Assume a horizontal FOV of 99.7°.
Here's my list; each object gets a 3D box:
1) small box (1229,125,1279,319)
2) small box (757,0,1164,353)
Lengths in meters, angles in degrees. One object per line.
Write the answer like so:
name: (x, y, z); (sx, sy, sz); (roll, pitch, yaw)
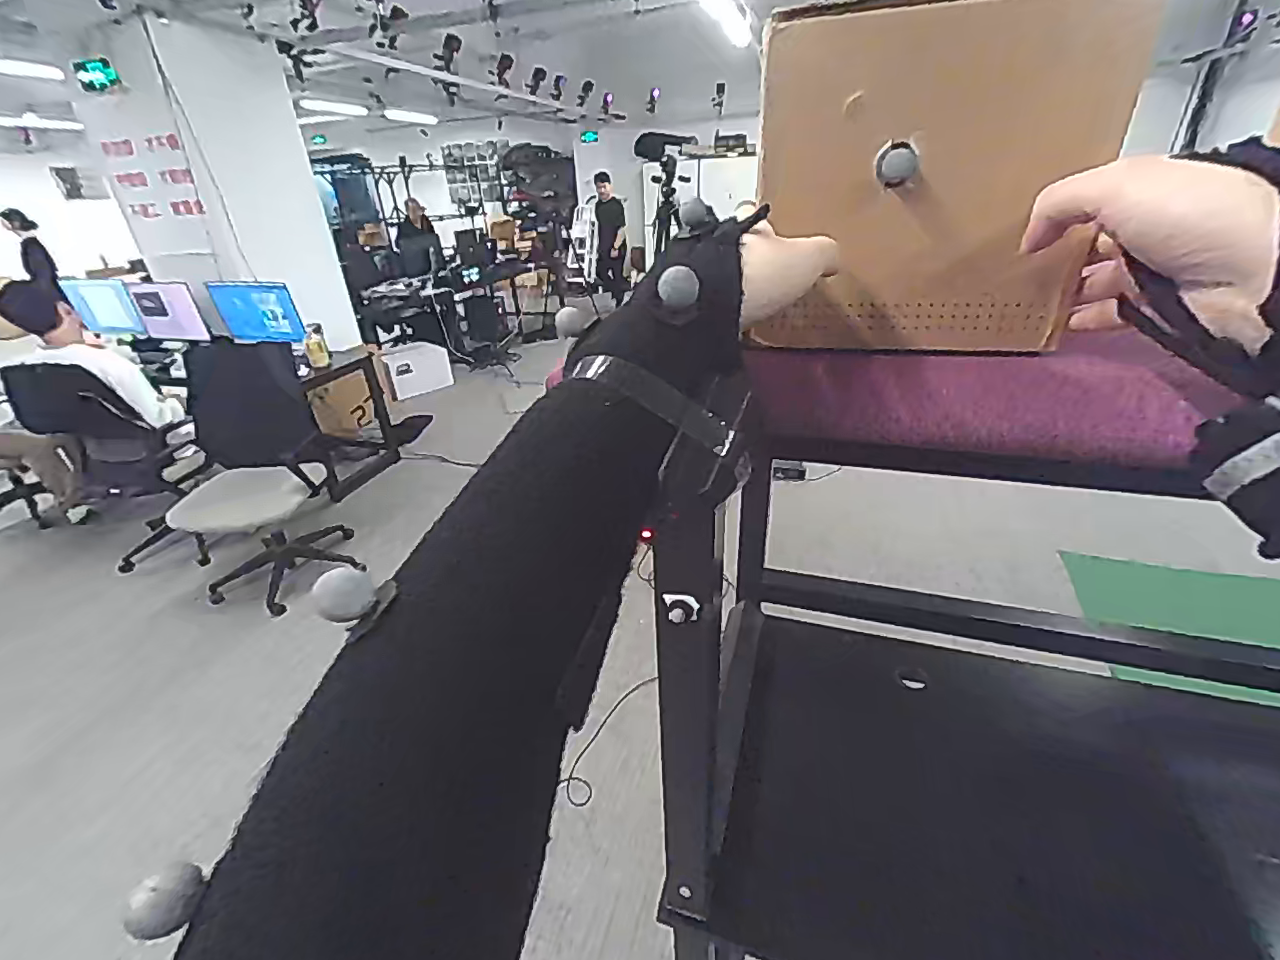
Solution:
small box: (0.500, -0.171, 0.303); (0.179, 0.176, 0.168); (8, 29, 19)
small box: (0.170, -0.184, 0.352); (0.179, 0.176, 0.168); (3, 29, 13)
